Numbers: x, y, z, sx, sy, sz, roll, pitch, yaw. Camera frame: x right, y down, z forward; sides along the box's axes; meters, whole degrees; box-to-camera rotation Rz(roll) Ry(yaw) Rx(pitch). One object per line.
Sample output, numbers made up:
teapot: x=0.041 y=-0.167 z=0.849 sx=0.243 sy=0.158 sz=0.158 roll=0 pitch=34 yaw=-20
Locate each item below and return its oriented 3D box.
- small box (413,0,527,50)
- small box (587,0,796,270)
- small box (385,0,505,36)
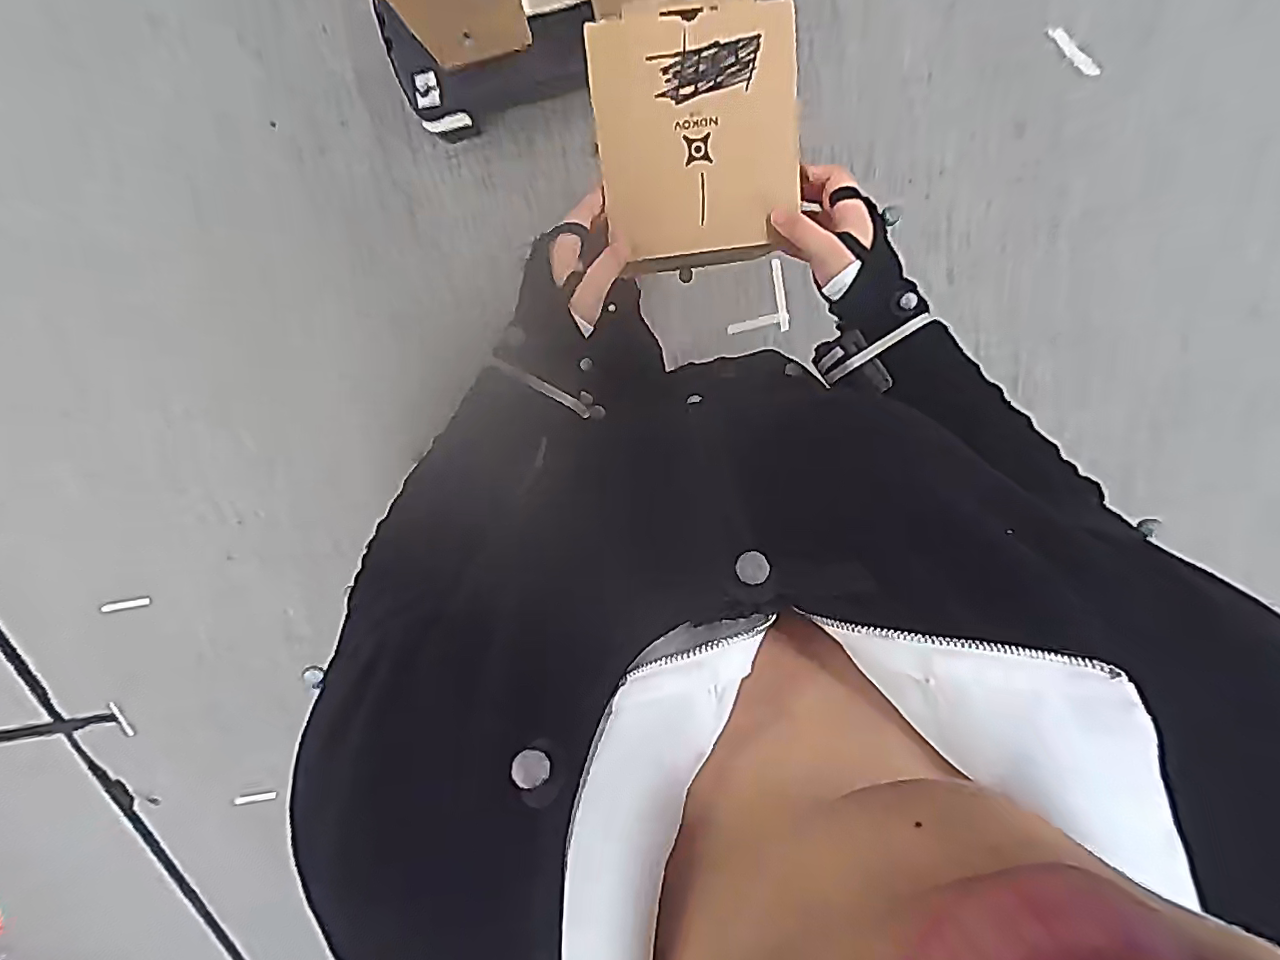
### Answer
small box: x=-0.303 y=-0.838 z=0.920 sx=0.179 sy=0.176 sz=0.168 roll=-14 pitch=110 yaw=4
small box: x=0.042 y=-0.311 z=0.523 sx=0.168 sy=0.176 sz=0.179 roll=-7 pitch=107 yaw=0
small box: x=-0.298 y=-0.782 z=0.766 sx=0.179 sy=0.176 sz=0.168 roll=-15 pitch=108 yaw=4
